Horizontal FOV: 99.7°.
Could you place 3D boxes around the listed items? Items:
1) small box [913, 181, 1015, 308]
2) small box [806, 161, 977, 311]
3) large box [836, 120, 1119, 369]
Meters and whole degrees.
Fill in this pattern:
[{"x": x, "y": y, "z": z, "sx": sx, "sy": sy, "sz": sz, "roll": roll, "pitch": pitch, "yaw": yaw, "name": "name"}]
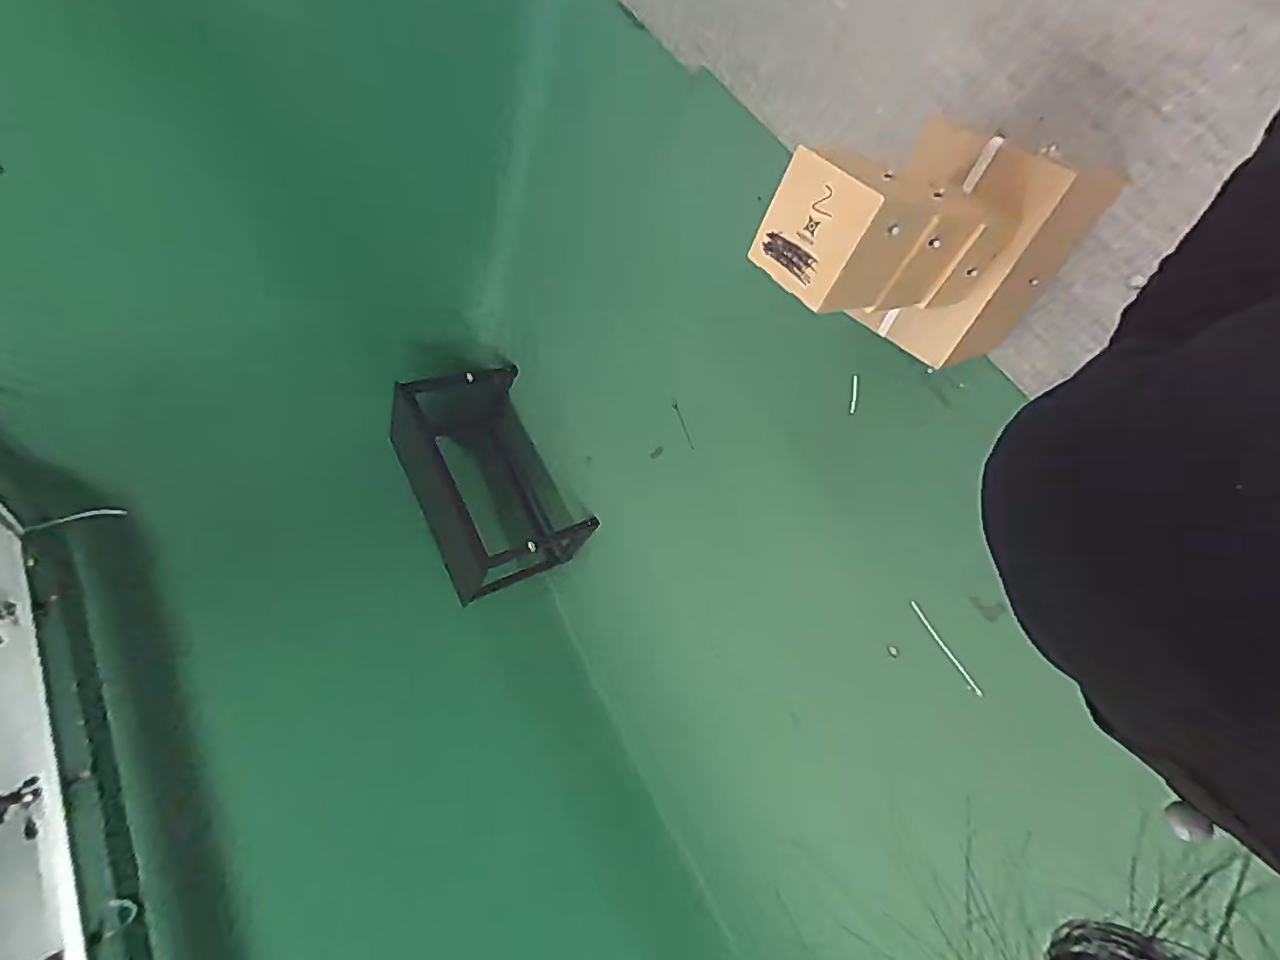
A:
[{"x": 0.561, "y": -0.454, "z": 1.029, "sx": 0.179, "sy": 0.176, "sz": 0.168, "roll": 51, "pitch": 139, "yaw": 25, "name": "small box"}, {"x": 0.433, "y": -0.418, "z": 0.936, "sx": 0.168, "sy": 0.176, "sz": 0.179, "roll": 52, "pitch": 140, "yaw": 24, "name": "small box"}, {"x": 0.726, "y": -0.521, "z": 1.204, "sx": 0.320, "sy": 0.320, "sz": 0.408, "roll": 48, "pitch": 140, "yaw": 31, "name": "large box"}]
